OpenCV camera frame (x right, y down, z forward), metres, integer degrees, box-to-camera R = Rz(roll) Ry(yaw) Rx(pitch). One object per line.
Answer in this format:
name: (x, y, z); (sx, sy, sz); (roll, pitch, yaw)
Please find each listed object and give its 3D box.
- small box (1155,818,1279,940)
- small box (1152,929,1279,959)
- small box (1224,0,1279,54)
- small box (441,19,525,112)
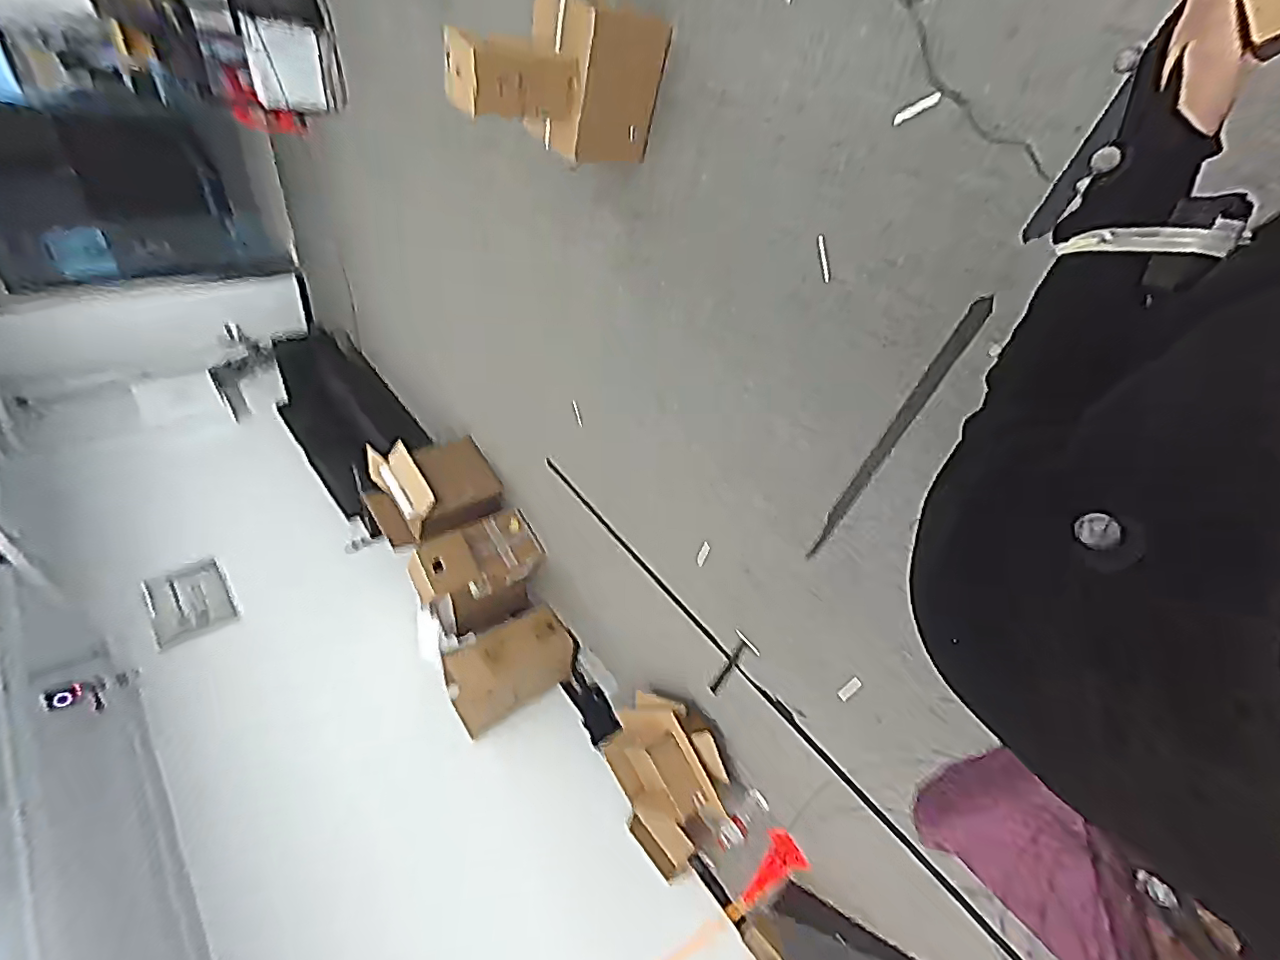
small box: (0.727, 0.501, 0.583); (0.179, 0.176, 0.168); (46, 141, 24)
small box: (0.607, 0.562, 0.488); (0.179, 0.176, 0.168); (47, 140, 25)
small box: (0.406, -0.361, 0.274); (0.168, 0.176, 0.179); (-16, 100, 52)
small box: (-0.449, -1.181, 1.547); (0.179, 0.176, 0.168); (47, 141, 23)
